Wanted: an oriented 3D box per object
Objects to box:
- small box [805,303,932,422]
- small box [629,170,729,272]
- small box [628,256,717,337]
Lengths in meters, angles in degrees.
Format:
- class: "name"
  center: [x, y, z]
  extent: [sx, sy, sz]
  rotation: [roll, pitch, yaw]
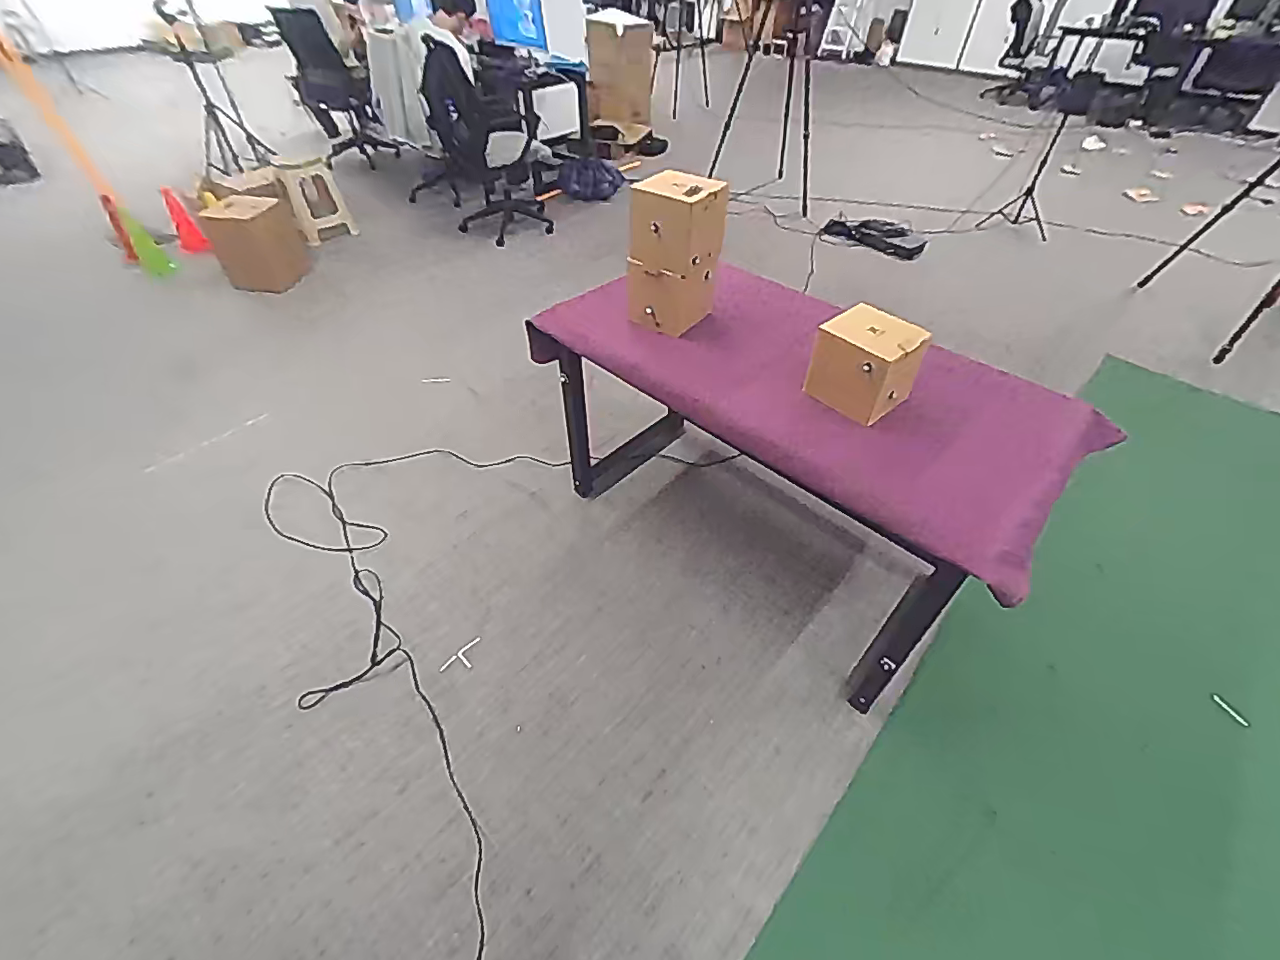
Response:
- class: "small box"
  center: [0.489, -0.256, 1.182]
  extent: [0.168, 0.176, 0.179]
  rotation: [-32, 54, -27]
- class: "small box"
  center: [0.090, -0.623, 1.305]
  extent: [0.179, 0.176, 0.168]
  rotation: [31, 51, 26]
- class: "small box"
  center: [0.082, -0.507, 1.426]
  extent: [0.168, 0.176, 0.179]
  rotation: [28, 52, 25]
